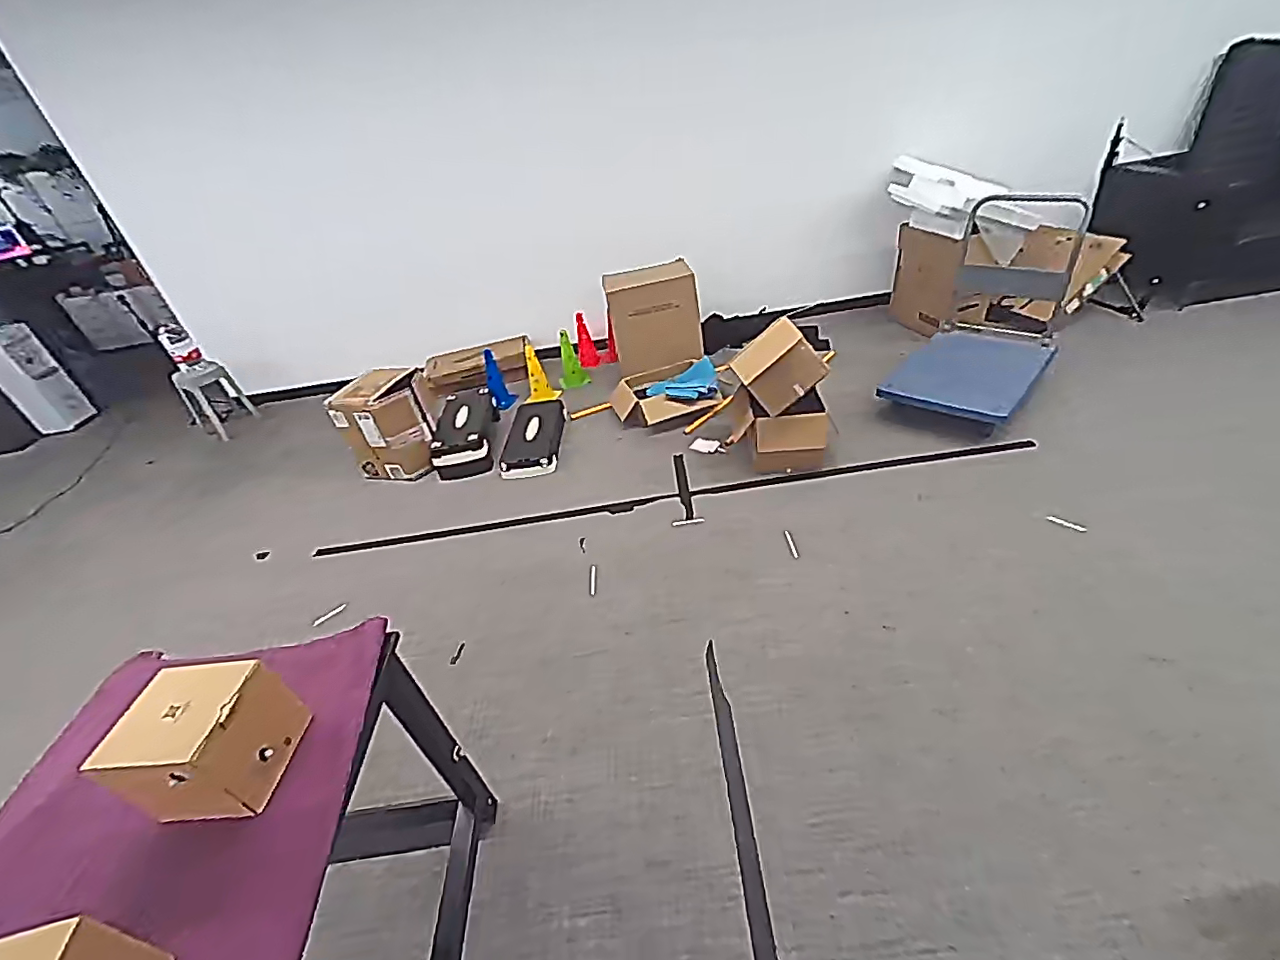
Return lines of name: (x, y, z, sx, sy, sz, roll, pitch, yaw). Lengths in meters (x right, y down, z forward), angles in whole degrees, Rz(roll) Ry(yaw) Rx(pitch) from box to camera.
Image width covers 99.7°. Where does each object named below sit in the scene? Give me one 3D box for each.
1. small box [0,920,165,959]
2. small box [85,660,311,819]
small box: (-0.666, 0.612, 0.571, 0.179, 0.176, 0.168, -14, 35, -5)
small box: (-0.674, 0.410, 0.851, 0.179, 0.176, 0.168, -7, 36, 6)
